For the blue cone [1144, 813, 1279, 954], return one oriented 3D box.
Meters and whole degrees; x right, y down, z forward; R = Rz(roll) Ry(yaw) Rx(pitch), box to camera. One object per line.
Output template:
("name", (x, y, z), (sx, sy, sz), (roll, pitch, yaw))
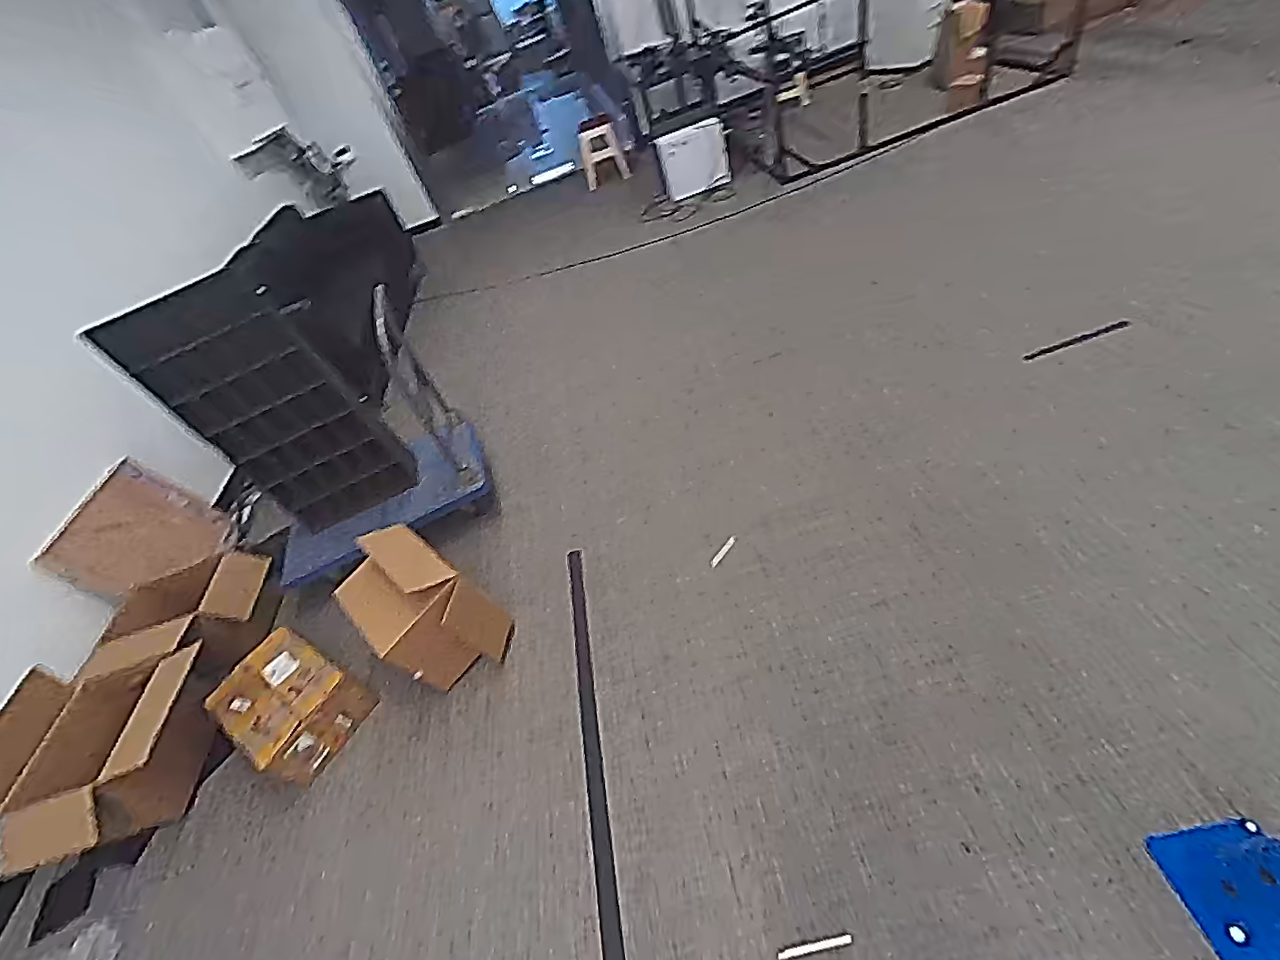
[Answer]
("blue cone", (1.021, 0.612, 0.868), (0.193, 0.380, 0.192), (-16, 42, 8))
